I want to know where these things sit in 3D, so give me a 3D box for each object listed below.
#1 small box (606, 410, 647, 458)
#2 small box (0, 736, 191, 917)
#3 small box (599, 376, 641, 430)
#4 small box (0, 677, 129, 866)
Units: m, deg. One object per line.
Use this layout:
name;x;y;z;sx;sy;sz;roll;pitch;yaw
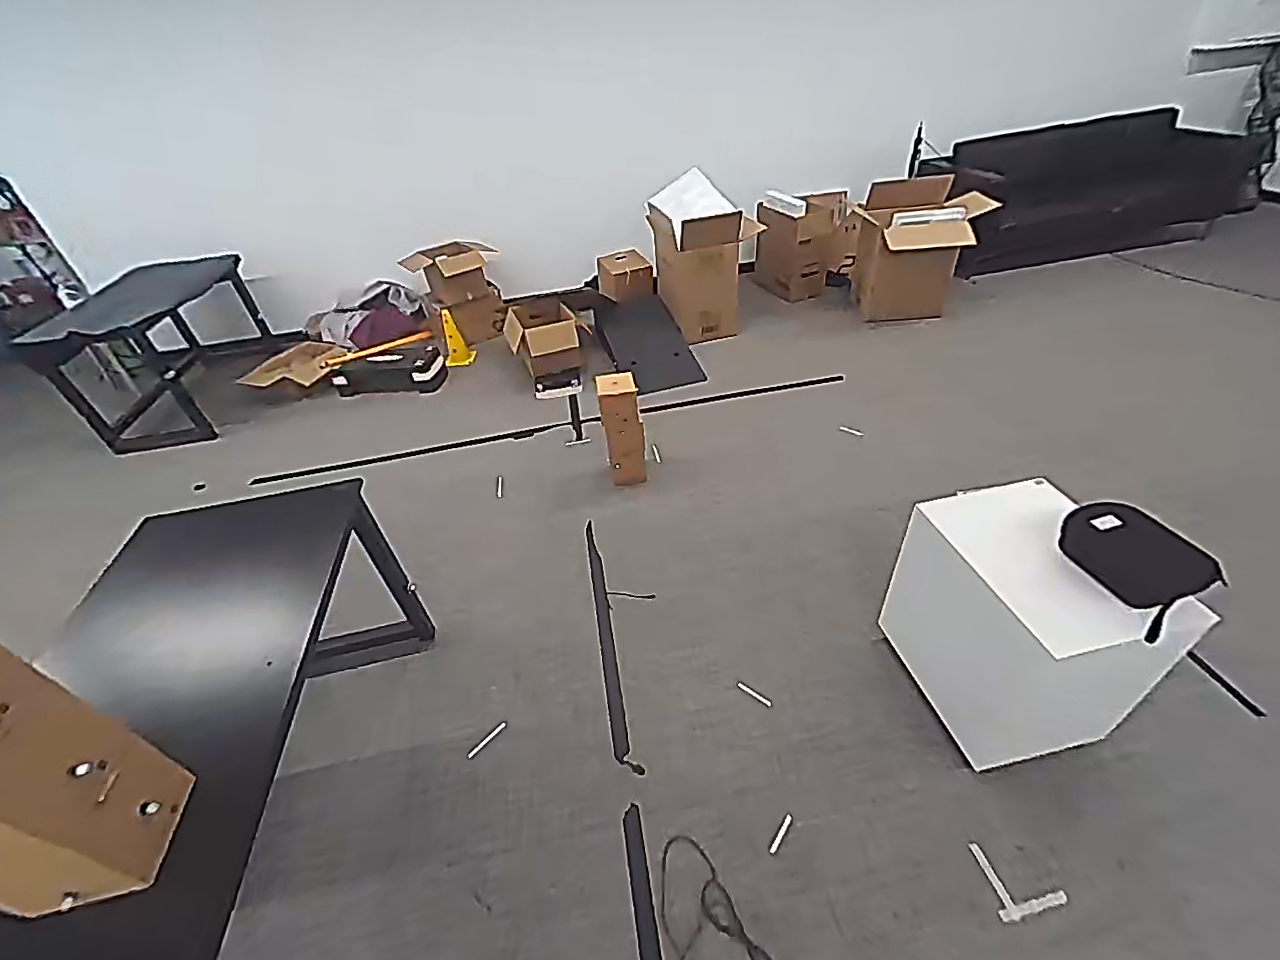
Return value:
small box;-0.067;-0.219;2.523;0.179;0.176;0.168;-9;39;-6
small box;-0.845;0.524;0.821;0.179;0.176;0.168;-11;39;-7
small box;-0.091;-0.347;2.425;0.168;0.176;0.179;-8;39;-4
small box;-0.861;0.397;0.717;0.179;0.176;0.168;-11;40;-6
